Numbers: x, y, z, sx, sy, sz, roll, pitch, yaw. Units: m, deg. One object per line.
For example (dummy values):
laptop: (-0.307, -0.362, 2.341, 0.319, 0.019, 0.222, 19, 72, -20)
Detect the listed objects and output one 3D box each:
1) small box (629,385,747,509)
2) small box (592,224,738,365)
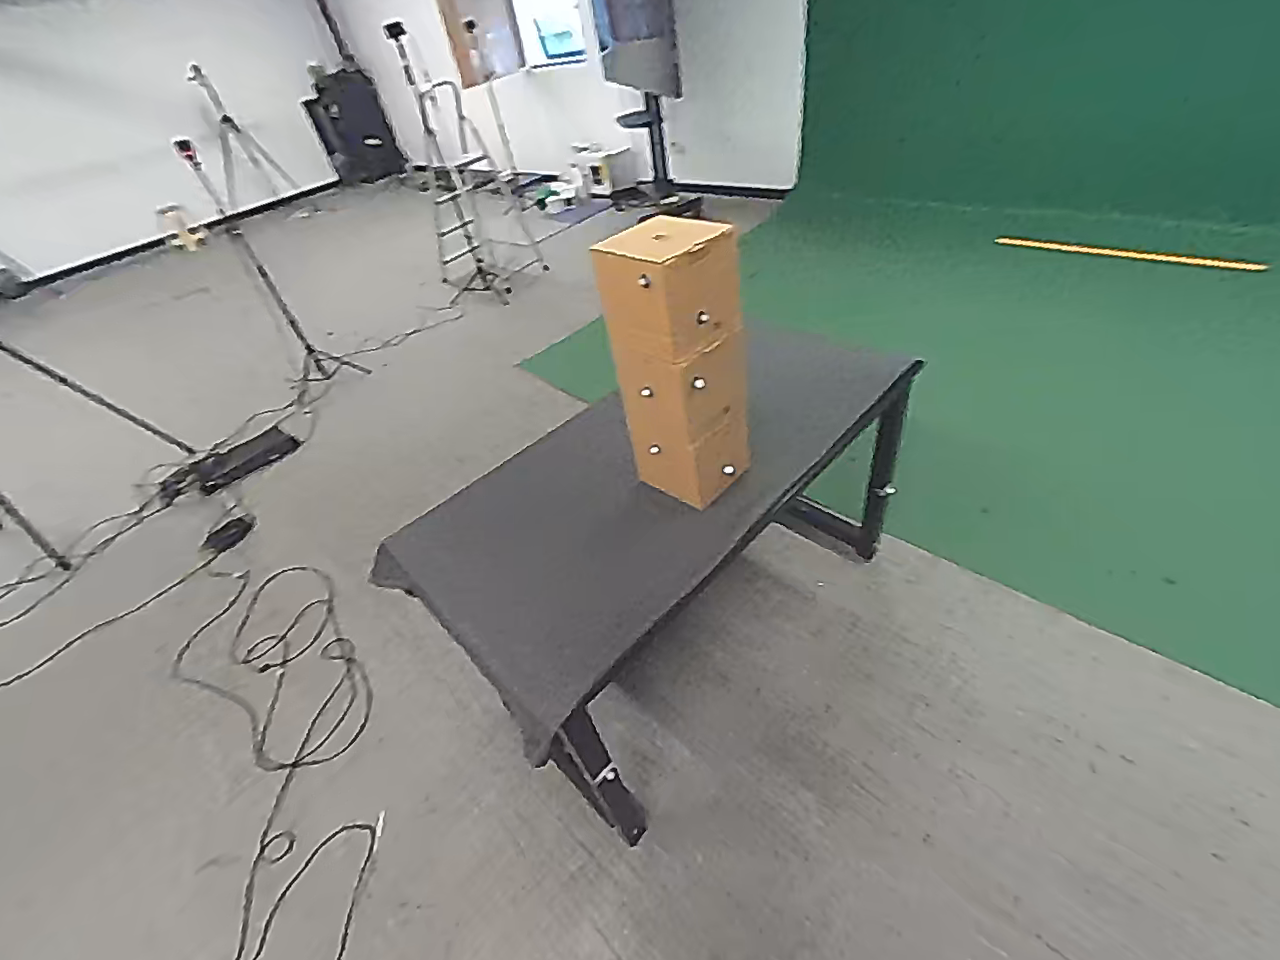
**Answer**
small box: (0.103, -0.067, 1.120, 0.179, 0.176, 0.168, 27, 55, 36)
small box: (0.047, -0.314, 0.914, 0.168, 0.176, 0.179, -37, 46, -26)
